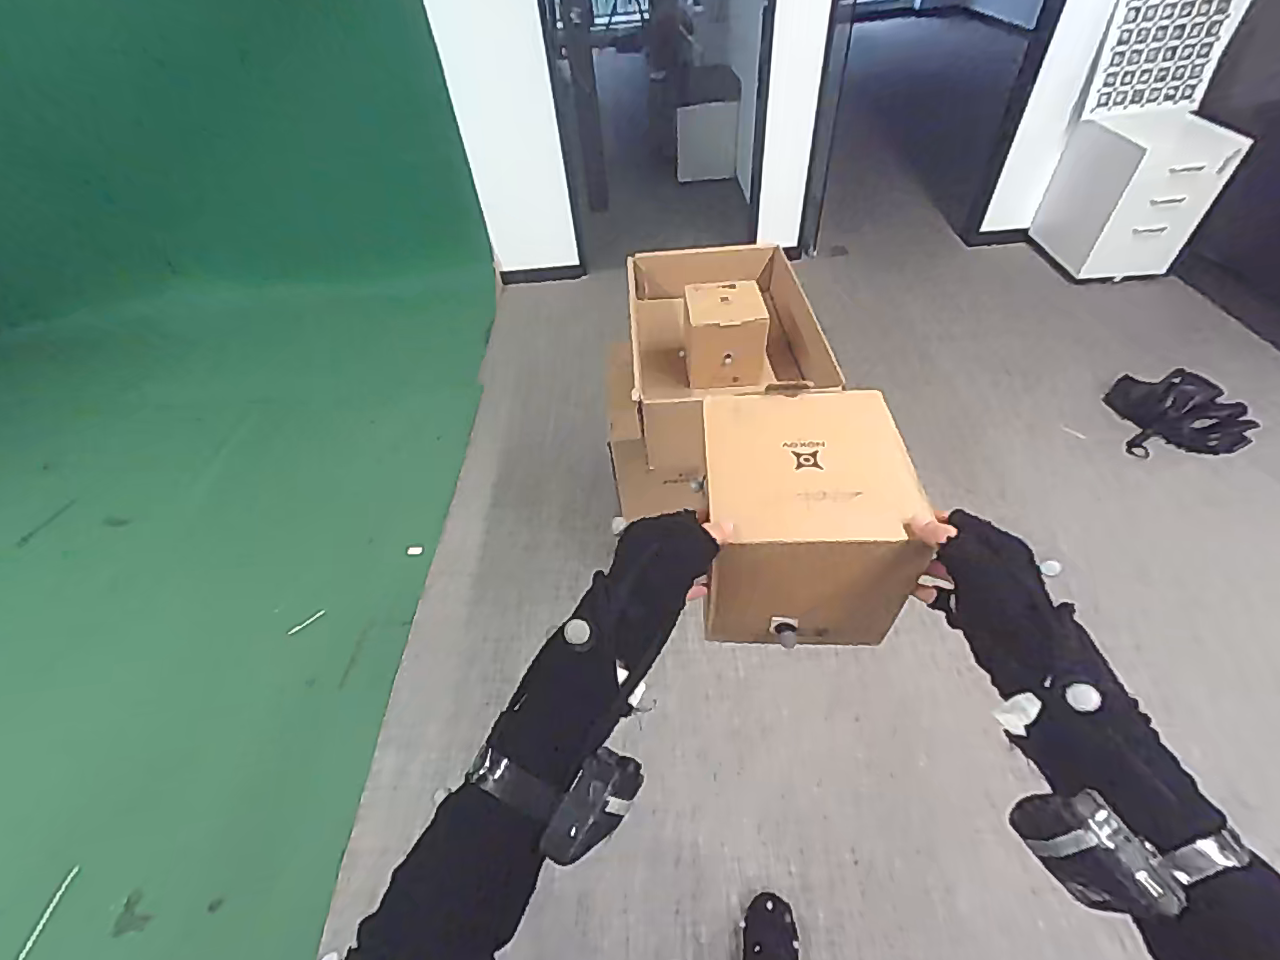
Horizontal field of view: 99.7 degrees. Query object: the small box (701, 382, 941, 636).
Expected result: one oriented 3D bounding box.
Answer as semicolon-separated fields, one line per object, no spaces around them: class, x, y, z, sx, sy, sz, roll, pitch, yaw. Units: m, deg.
small box;0.145;0.027;0.511;0.168;0.176;0.179;-1;48;4
